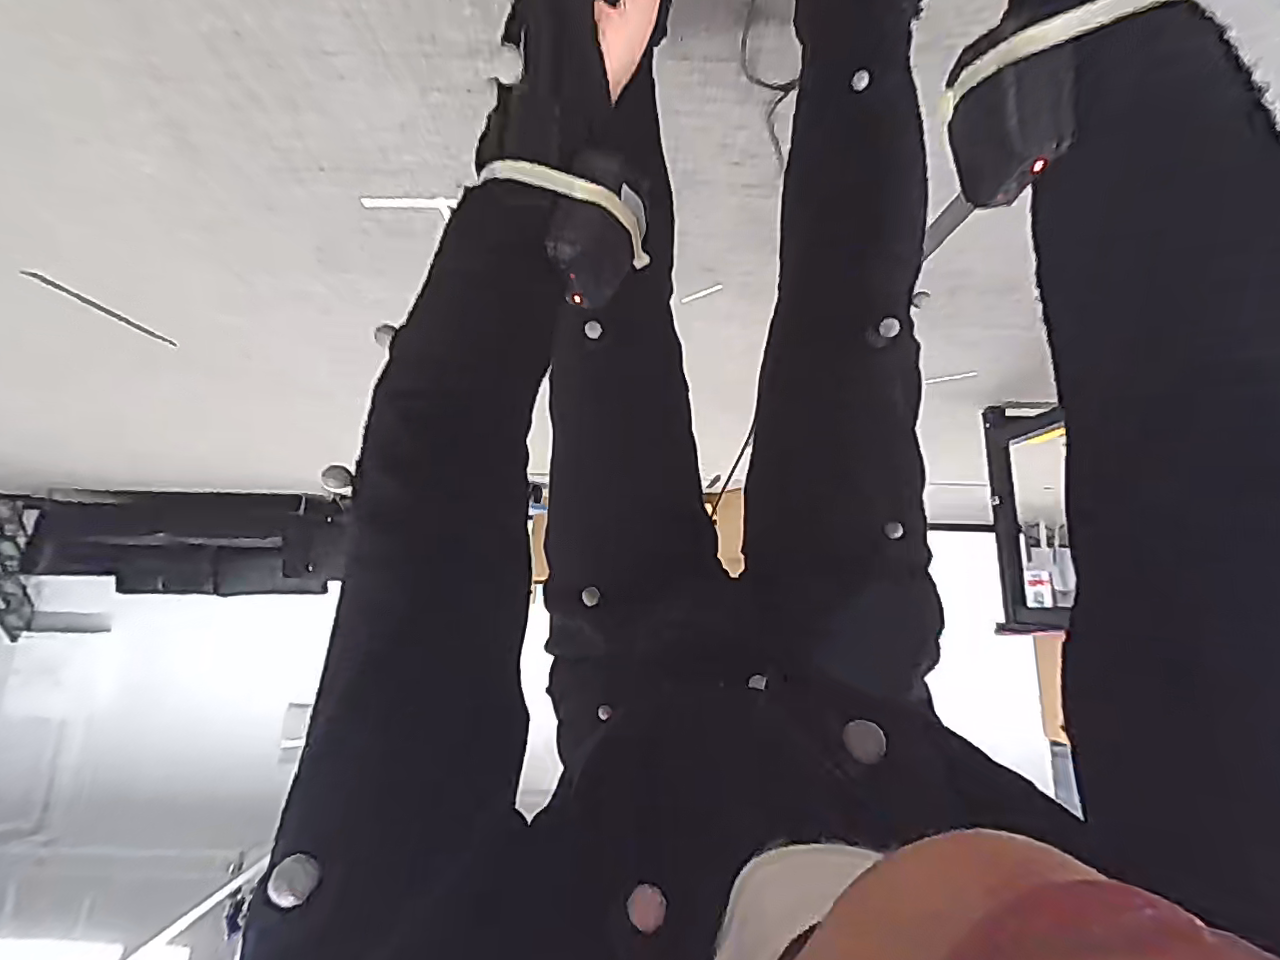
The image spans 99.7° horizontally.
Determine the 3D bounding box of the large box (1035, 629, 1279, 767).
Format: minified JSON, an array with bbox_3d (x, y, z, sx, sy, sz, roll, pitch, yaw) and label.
[{"bbox_3d":[1.416,0.584,1.499,0.408,0.320,0.320,0,170,0],"label":"large box"}]
